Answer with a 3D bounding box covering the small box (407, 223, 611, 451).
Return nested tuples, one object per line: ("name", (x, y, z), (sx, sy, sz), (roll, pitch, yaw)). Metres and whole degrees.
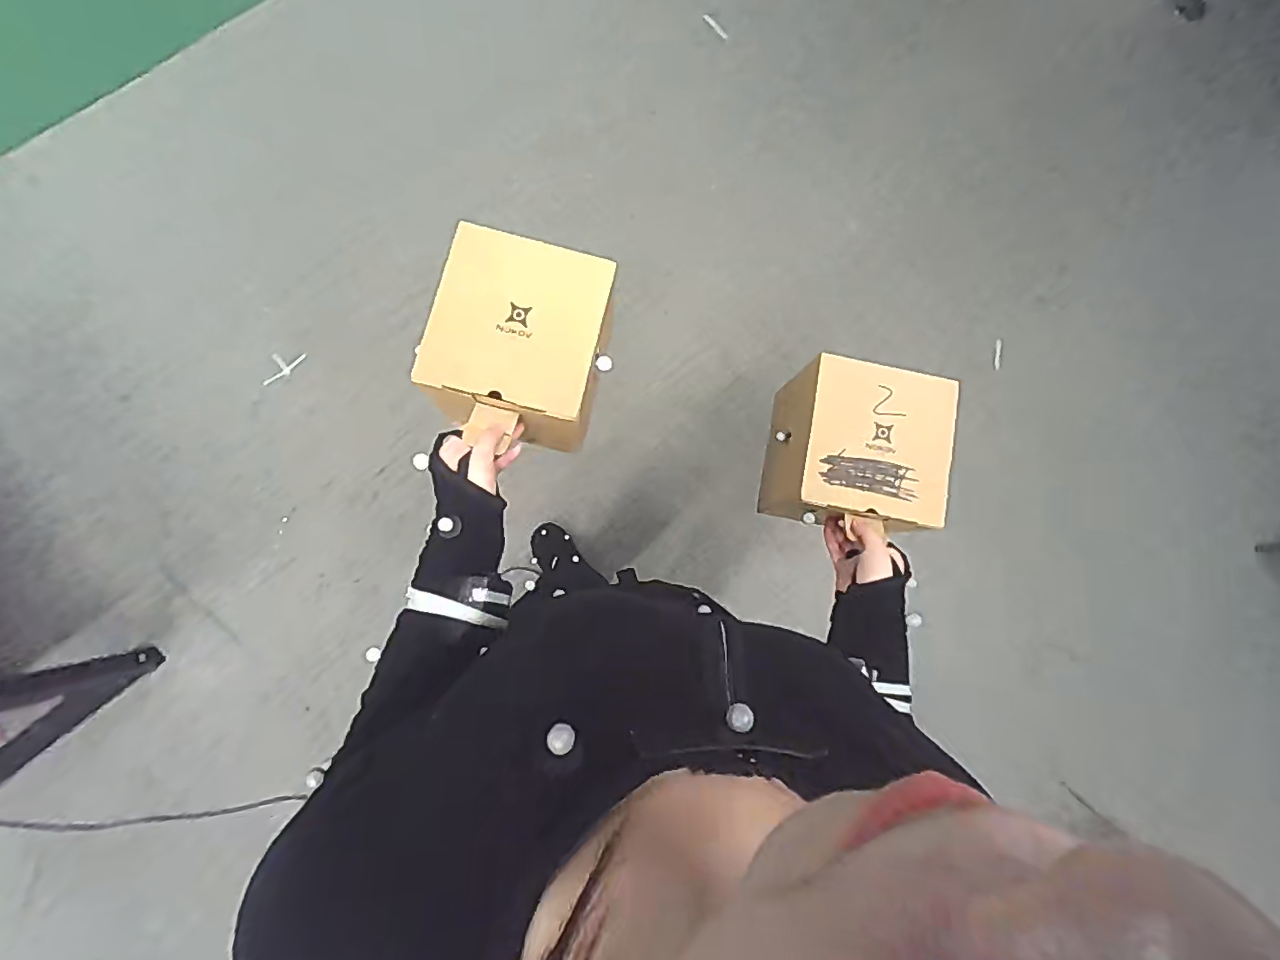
("small box", (-0.136, -0.146, 0.614), (0.168, 0.176, 0.179), (13, 81, -4))
